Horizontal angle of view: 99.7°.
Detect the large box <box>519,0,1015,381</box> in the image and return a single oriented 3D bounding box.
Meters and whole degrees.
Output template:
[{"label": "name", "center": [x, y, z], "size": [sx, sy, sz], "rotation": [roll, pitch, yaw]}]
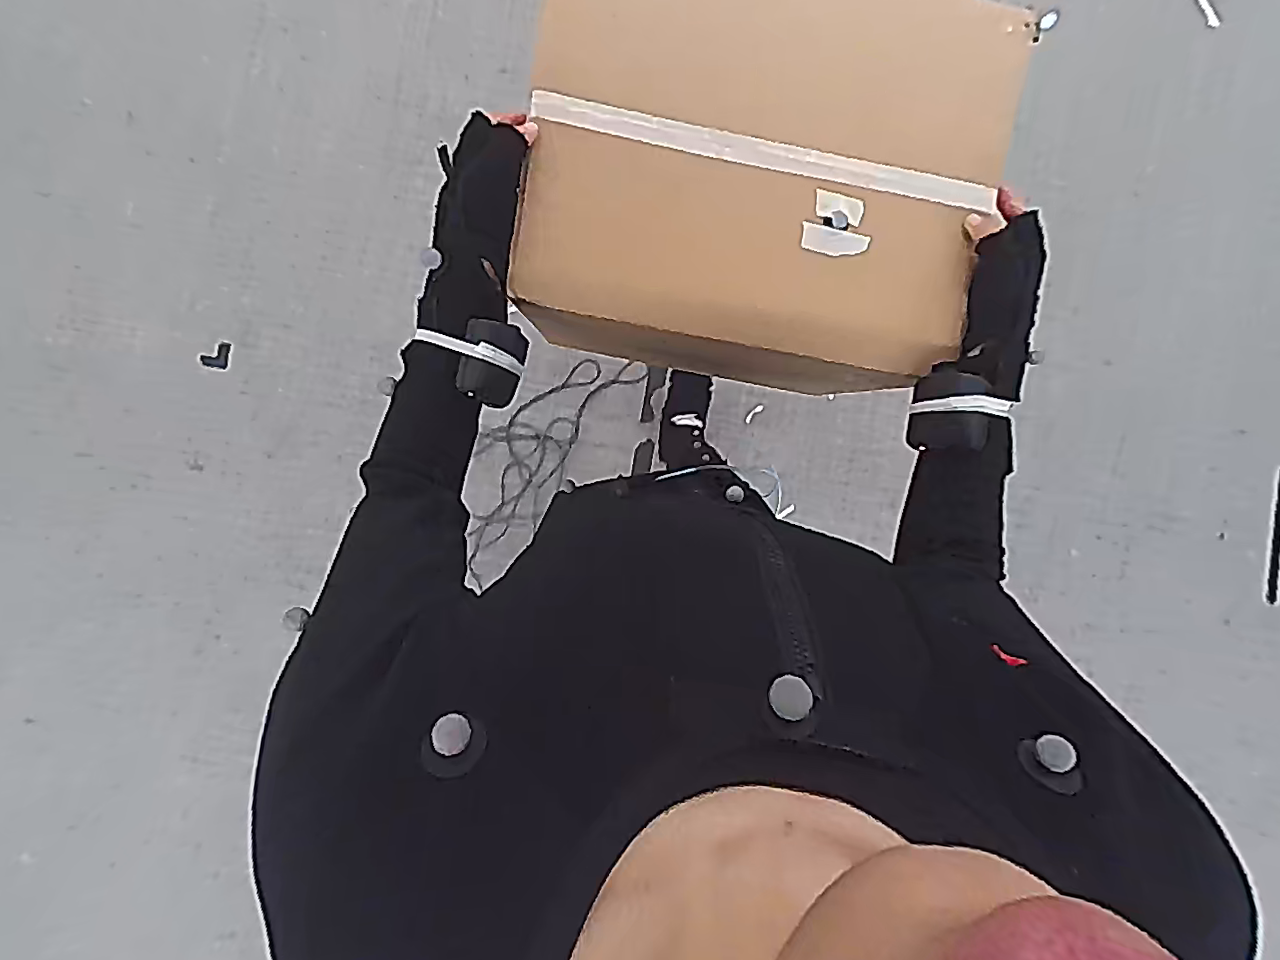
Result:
[{"label": "large box", "center": [0.101, -0.307, 0.622], "size": [0.408, 0.320, 0.320], "rotation": [10, 98, -5]}]
